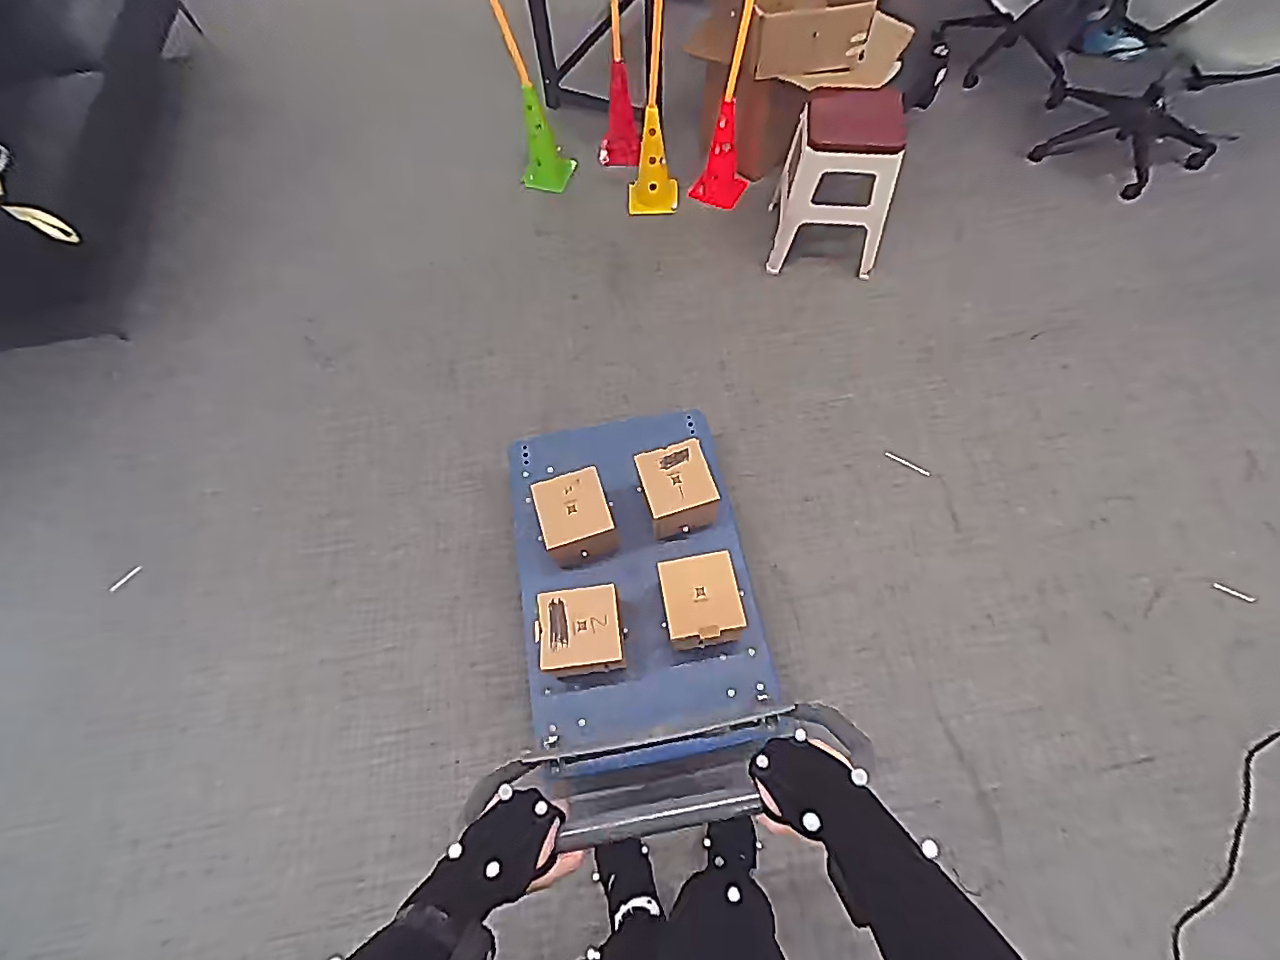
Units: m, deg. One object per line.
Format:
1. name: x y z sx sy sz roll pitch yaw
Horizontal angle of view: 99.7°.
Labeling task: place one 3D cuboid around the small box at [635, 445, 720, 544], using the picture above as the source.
1. small box: 0.091 0.040 1.376 0.168 0.176 0.179 -17 66 -4

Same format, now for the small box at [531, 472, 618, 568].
1. small box: -0.159 0.110 1.355 0.168 0.176 0.179 -17 65 -6

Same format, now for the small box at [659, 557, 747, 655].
1. small box: 0.138 0.296 1.256 0.168 0.176 0.179 -10 66 -2
